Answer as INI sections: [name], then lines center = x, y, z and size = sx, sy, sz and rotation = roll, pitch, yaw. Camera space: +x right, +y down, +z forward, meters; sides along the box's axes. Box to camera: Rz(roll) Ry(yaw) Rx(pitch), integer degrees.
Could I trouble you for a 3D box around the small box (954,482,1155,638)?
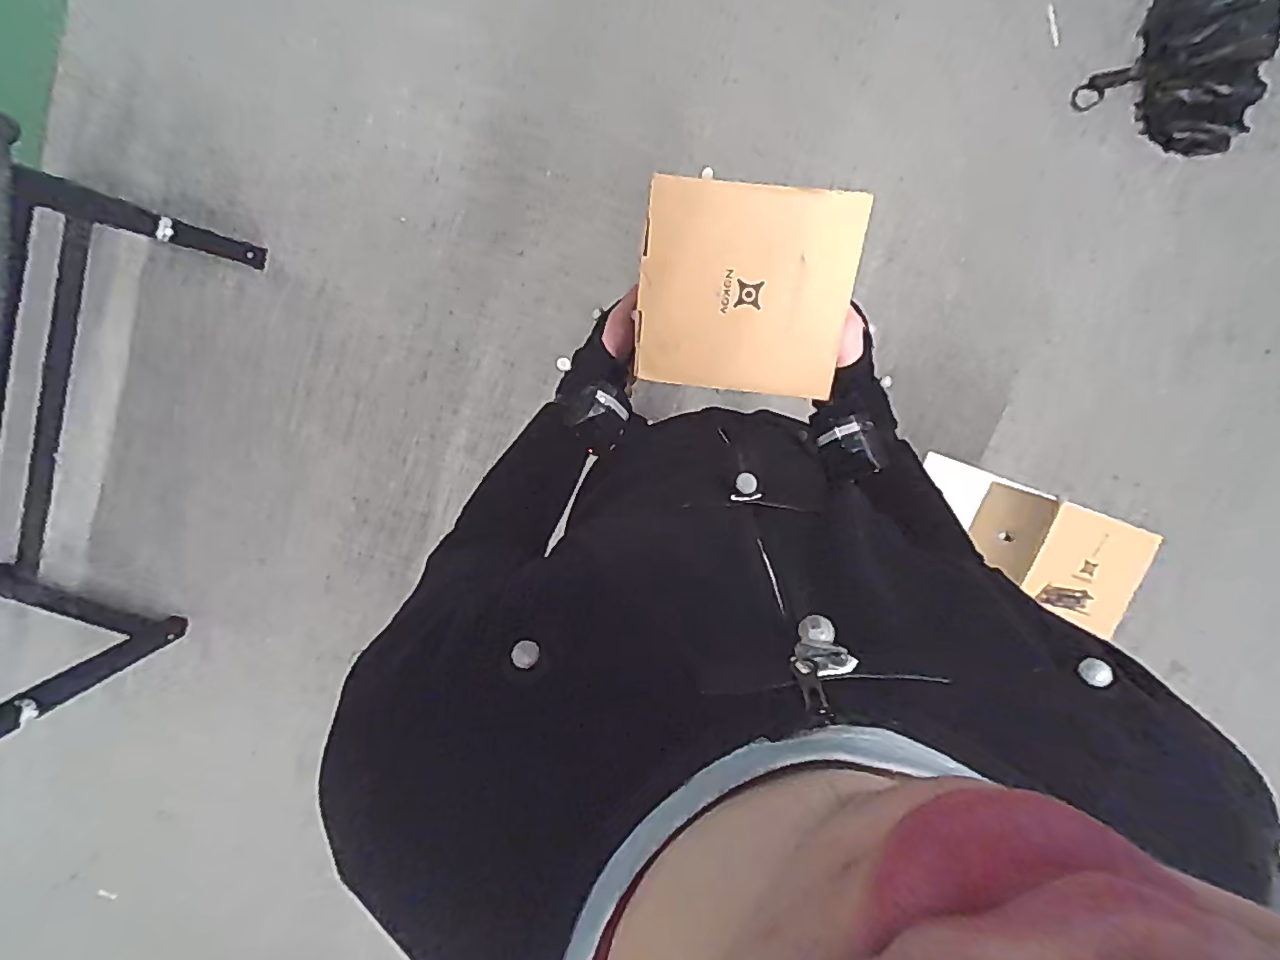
[small box]
center = 0.655, 0.121, 0.884
size = 0.168, 0.176, 0.179
rotation = 19, 100, -3
